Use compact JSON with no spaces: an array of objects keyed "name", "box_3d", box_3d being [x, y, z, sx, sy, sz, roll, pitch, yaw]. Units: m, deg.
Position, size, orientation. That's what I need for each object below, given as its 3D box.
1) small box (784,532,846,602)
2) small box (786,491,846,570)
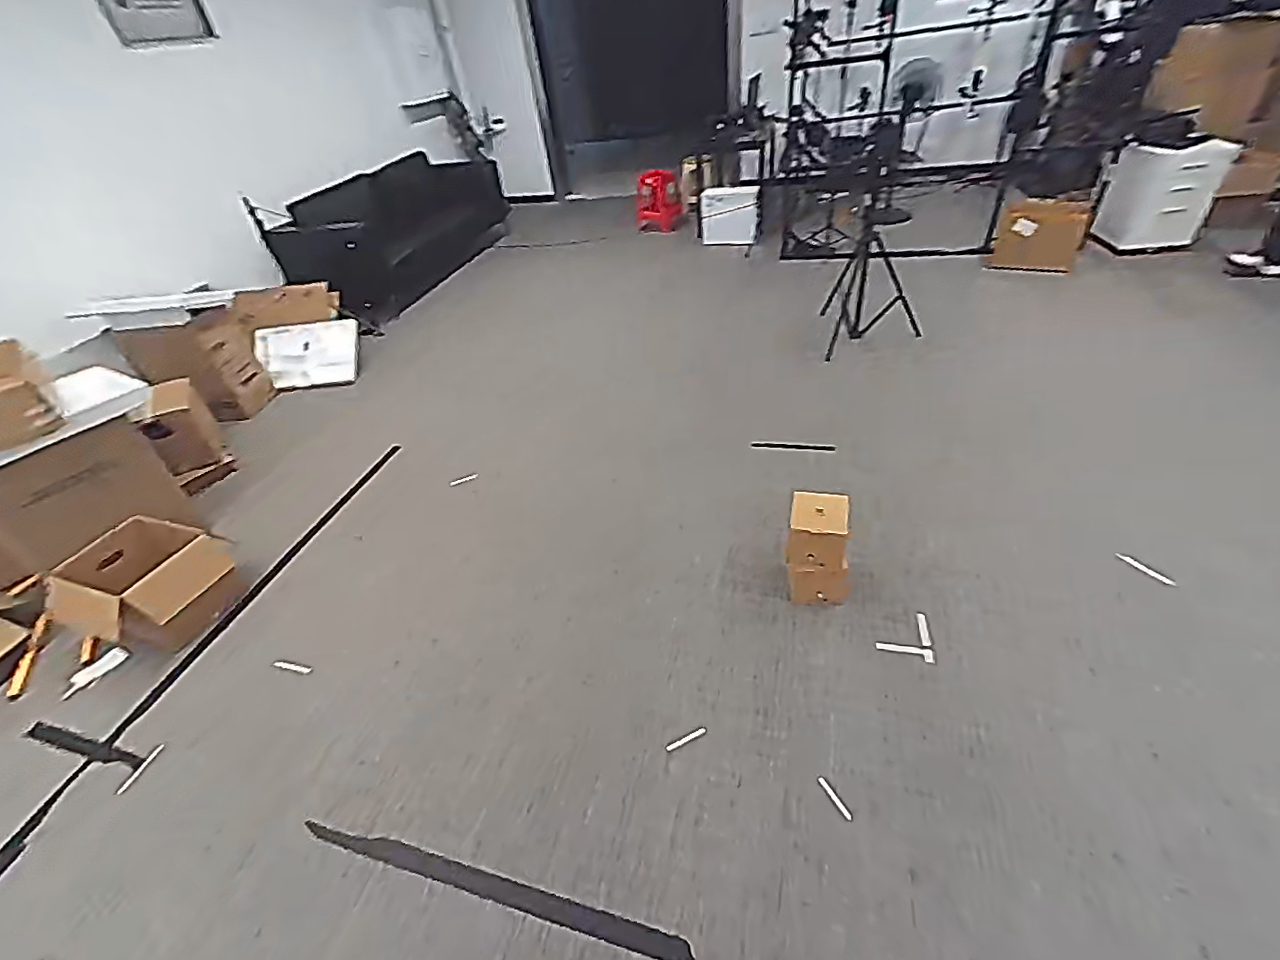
[{"name":"small box","box_3d":[0.579,0.288,1.811,0.168,0.176,0.179,-4,40,7]},{"name":"small box","box_3d":[0.555,0.159,1.714,0.168,0.176,0.179,5,42,16]}]
